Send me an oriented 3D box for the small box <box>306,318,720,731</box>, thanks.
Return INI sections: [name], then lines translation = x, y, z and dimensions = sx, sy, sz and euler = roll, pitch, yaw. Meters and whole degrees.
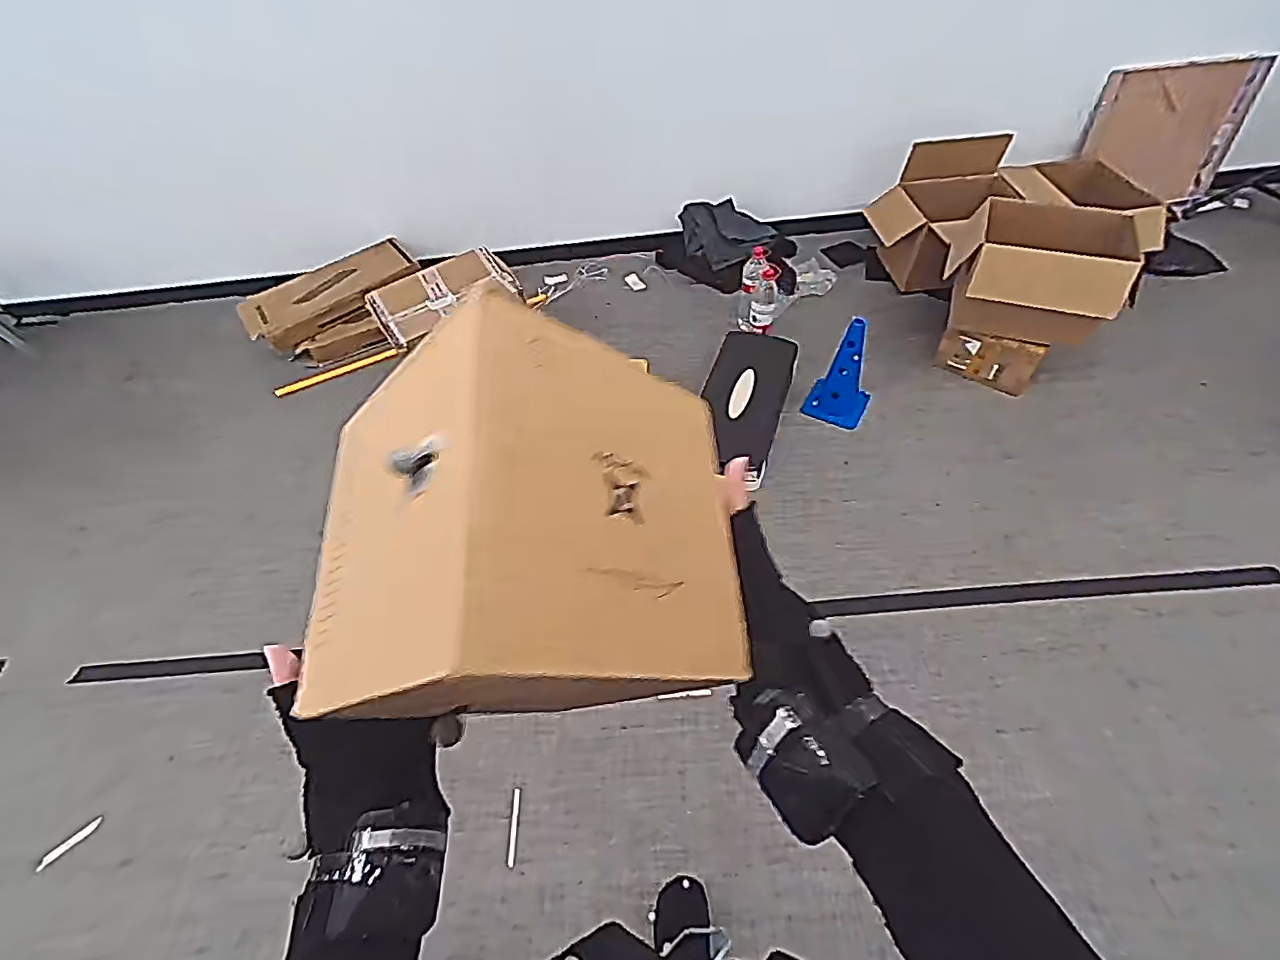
[small box]
translation = -0.078, 0.046, 0.327
dimensions = 0.176, 0.168, 0.179
euler = -29, 56, 39
